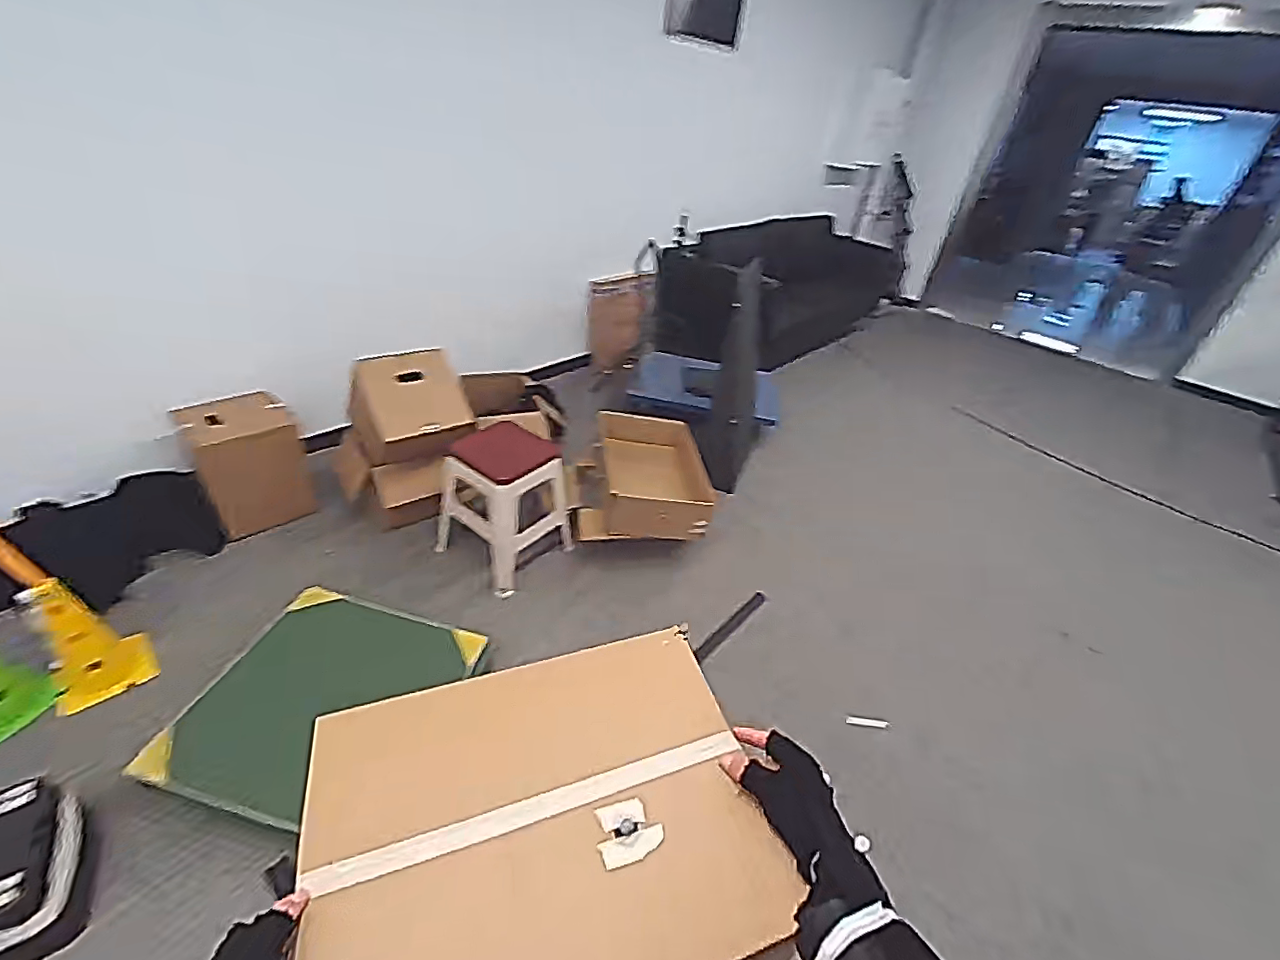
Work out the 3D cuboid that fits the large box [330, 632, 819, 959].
[{"bbox_3d":[-0.086,0.431,0.610,0.408,0.320,0.320,-8,39,-17],"label":"large box"}]
